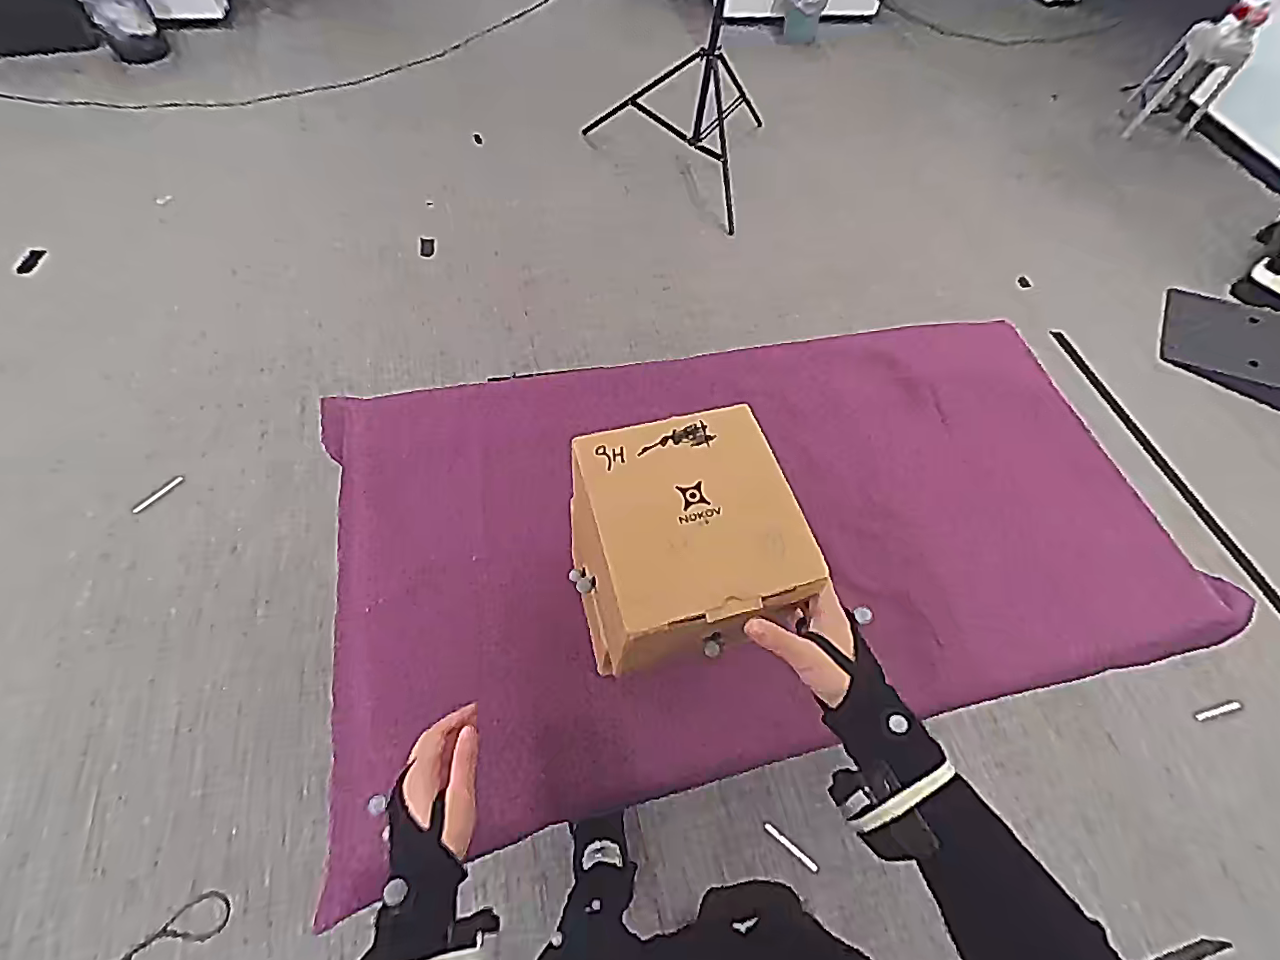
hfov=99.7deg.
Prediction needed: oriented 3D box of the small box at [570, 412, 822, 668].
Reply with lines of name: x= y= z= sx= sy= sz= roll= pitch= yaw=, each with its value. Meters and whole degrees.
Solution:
small box: x=0.036 y=0.066 z=0.507 sx=0.168 sy=0.176 sz=0.179 roll=-13 pitch=64 yaw=-12

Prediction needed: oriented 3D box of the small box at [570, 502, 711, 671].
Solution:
small box: x=0.013 y=0.123 z=0.662 sx=0.168 sy=0.176 sz=0.179 roll=-11 pitch=62 yaw=-12
